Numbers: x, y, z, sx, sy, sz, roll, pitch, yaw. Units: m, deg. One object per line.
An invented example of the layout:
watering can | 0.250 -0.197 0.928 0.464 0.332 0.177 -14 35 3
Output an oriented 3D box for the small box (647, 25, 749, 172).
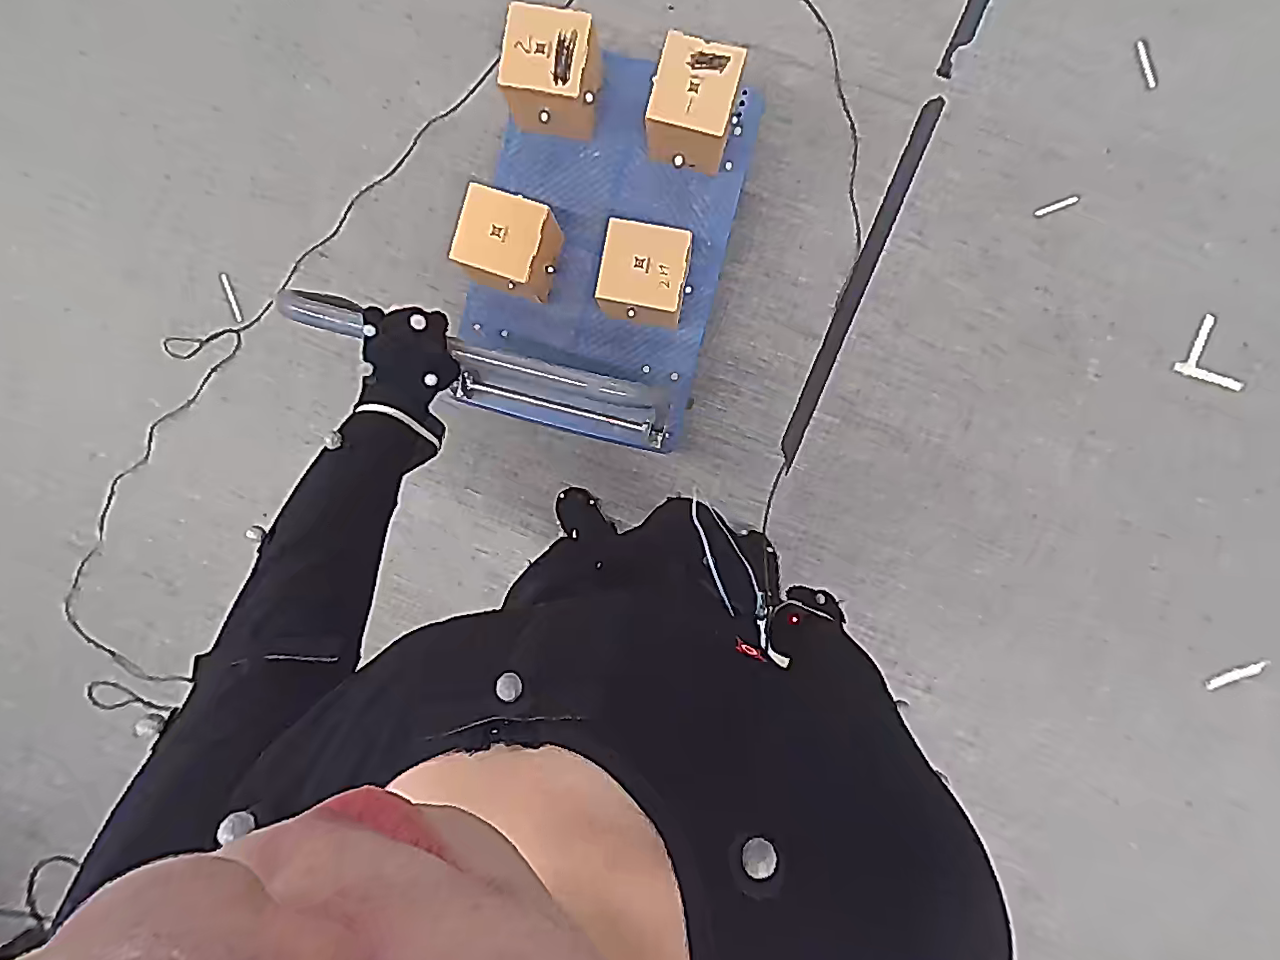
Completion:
small box | 0.118 -0.805 1.158 0.168 0.176 0.179 17 95 2

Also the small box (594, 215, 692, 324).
small box | 0.011 -0.453 1.186 0.179 0.176 0.168 12 94 2

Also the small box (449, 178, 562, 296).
small box | -0.290 -0.527 1.199 0.179 0.176 0.168 18 94 0
